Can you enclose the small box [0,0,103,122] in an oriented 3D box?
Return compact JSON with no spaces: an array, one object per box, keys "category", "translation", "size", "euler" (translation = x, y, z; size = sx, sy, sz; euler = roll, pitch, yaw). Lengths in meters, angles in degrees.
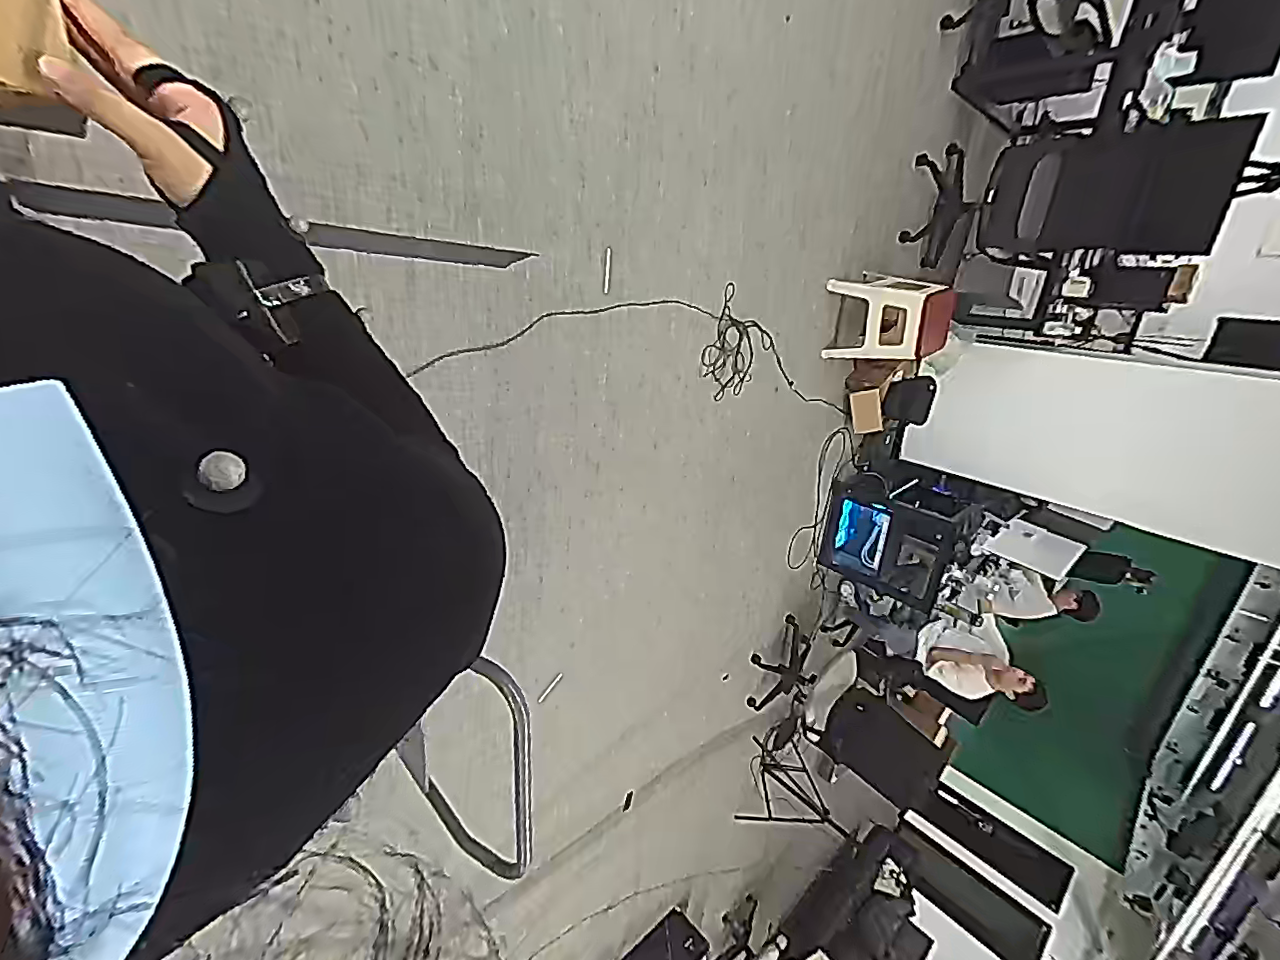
[{"category":"small box","translation":[-0.430,-0.328,0.297],"size":[0.168,0.176,0.179],"euler":[-13,116,-41]}]
